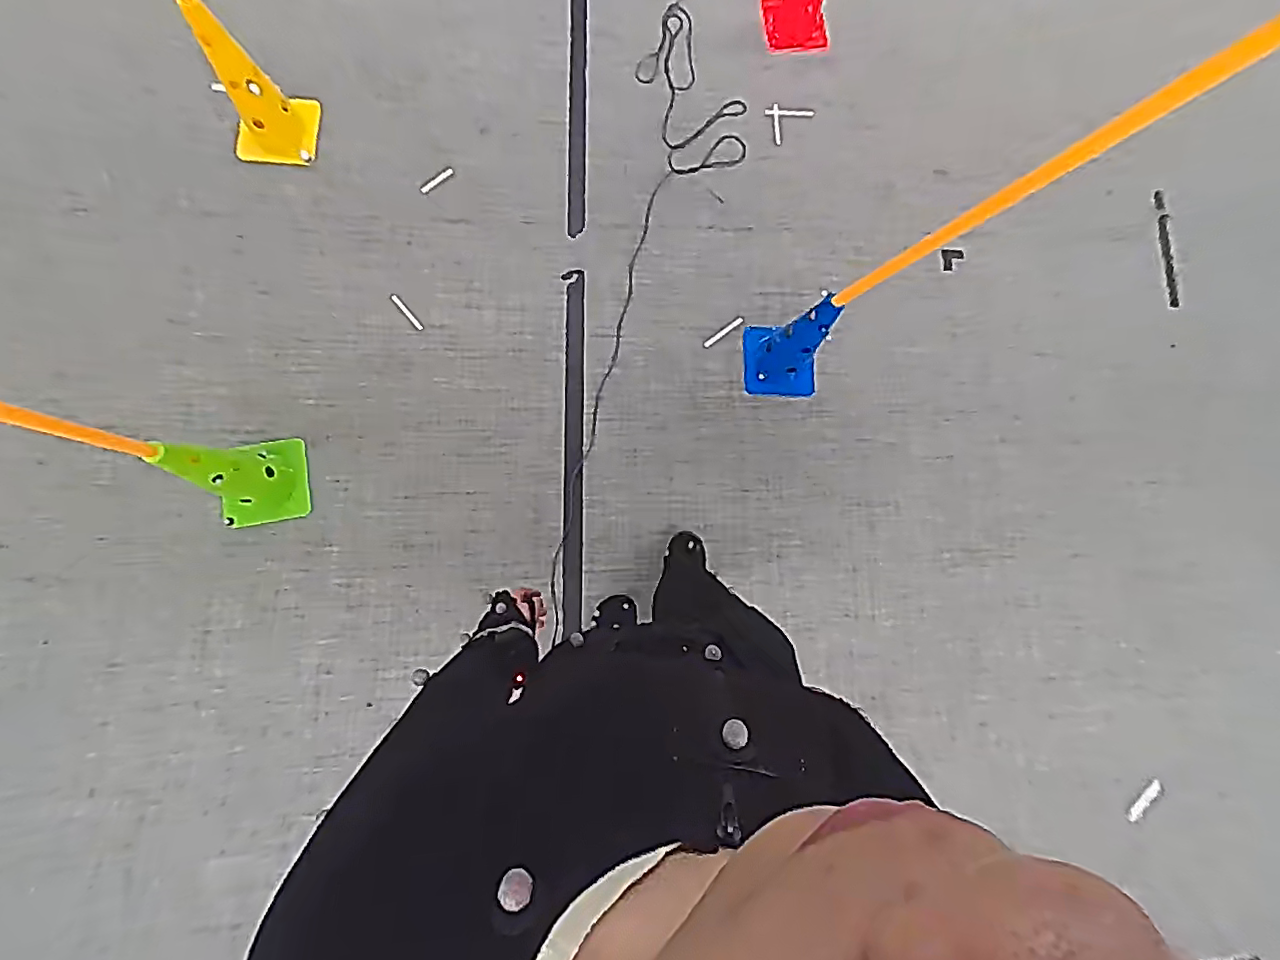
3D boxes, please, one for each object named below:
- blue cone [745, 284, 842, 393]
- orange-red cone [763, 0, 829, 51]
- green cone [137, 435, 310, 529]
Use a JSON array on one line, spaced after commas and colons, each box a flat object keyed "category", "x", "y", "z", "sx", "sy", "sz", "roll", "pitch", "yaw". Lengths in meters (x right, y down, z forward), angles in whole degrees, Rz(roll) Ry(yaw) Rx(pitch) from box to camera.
[{"category": "blue cone", "x": 0.404, "y": -0.365, "z": 1.349, "sx": 0.193, "sy": 0.380, "sz": 0.192, "roll": 3, "pitch": 80, "yaw": -5}, {"category": "orange-red cone", "x": 0.502, "y": -1.458, "z": 1.525, "sx": 0.199, "sy": 0.360, "sz": 0.198, "roll": -5, "pitch": 81, "yaw": -5}, {"category": "green cone", "x": -0.903, "y": -0.024, "z": 1.156, "sx": 0.200, "sy": 0.368, "sz": 0.202, "roll": -11, "pitch": 80, "yaw": -7}]
